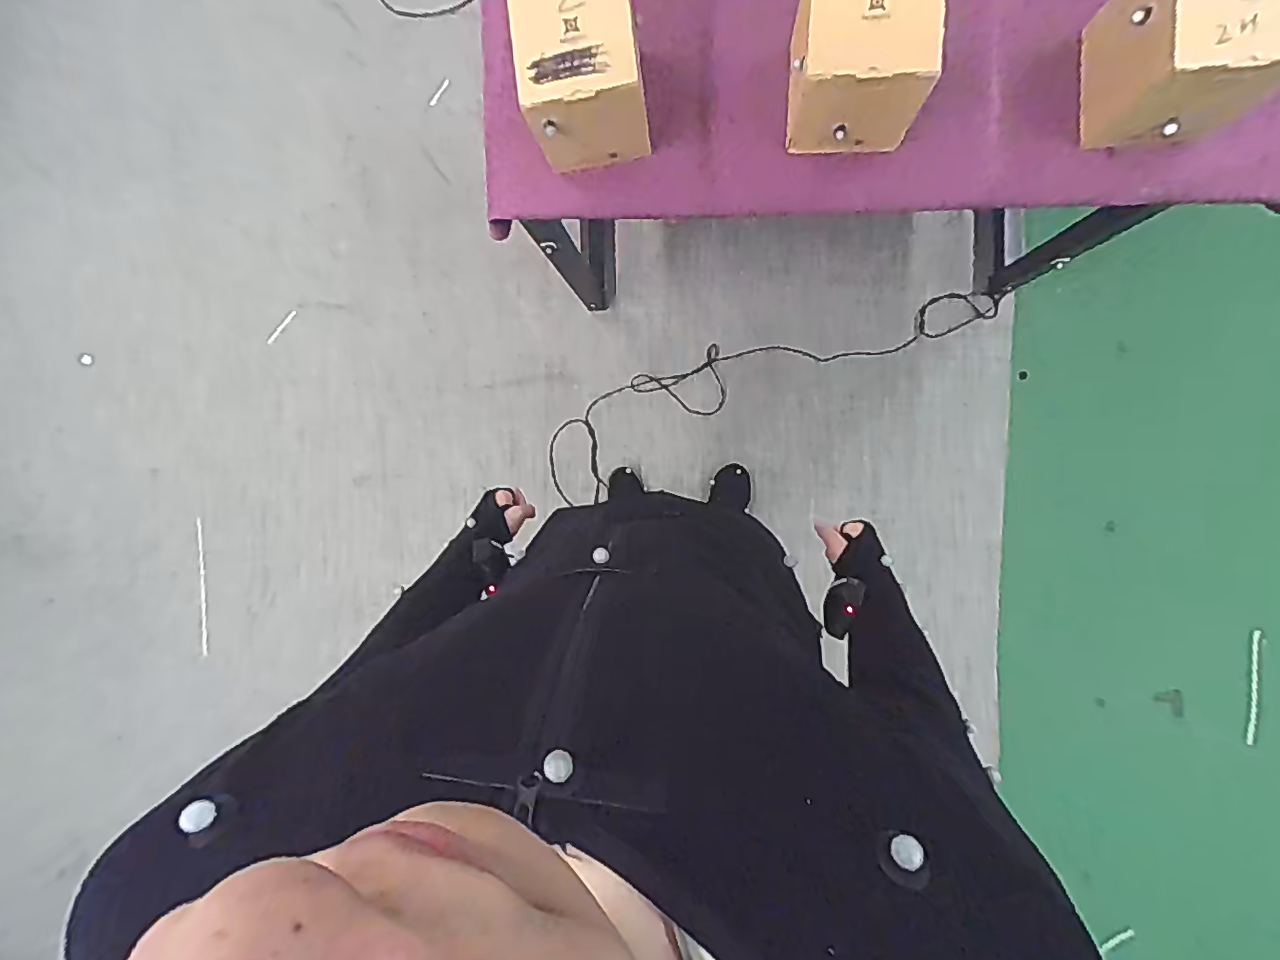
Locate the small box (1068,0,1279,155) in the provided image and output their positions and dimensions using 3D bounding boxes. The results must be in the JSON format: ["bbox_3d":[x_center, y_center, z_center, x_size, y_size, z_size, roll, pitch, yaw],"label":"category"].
[{"bbox_3d":[0.718,-0.574,0.727,0.168,0.176,0.179,0,93,7],"label":"small box"}]

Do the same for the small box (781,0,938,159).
[{"bbox_3d":[0.300,-0.591,0.769,0.168,0.176,0.179,2,93,5],"label":"small box"}]
